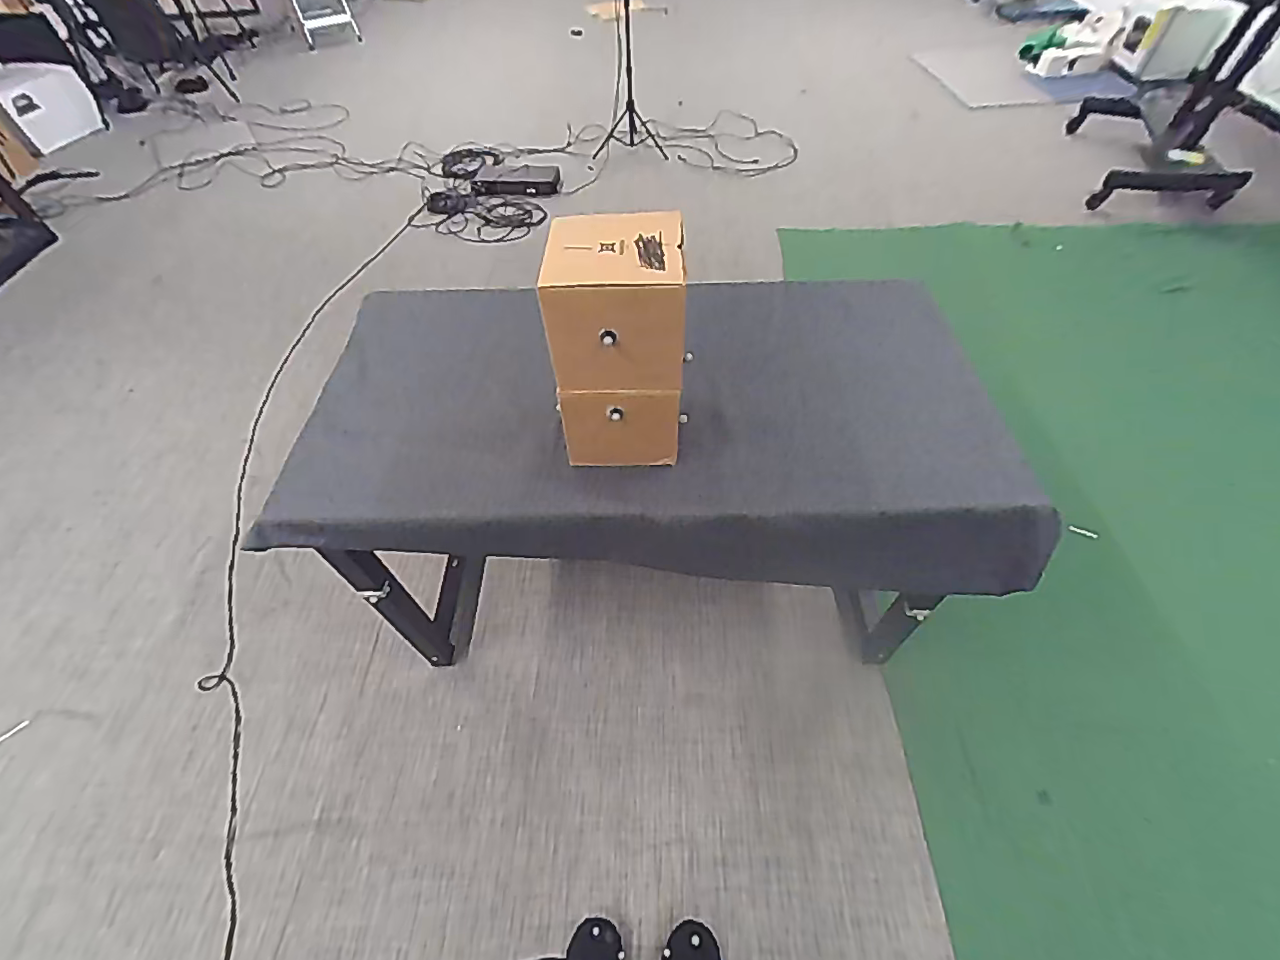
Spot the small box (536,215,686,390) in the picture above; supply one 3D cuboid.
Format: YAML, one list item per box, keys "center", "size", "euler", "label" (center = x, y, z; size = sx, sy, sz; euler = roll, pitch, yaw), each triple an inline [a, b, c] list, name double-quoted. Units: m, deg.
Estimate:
- center: [-0.029, -0.236, 0.738]
  size: [0.179, 0.176, 0.168]
  euler: [0, 54, 3]
  label: "small box"

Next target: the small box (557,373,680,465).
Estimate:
- center: [-0.027, -0.136, 0.868]
  size: [0.179, 0.176, 0.168]
  euler: [0, 54, 1]
  label: "small box"
